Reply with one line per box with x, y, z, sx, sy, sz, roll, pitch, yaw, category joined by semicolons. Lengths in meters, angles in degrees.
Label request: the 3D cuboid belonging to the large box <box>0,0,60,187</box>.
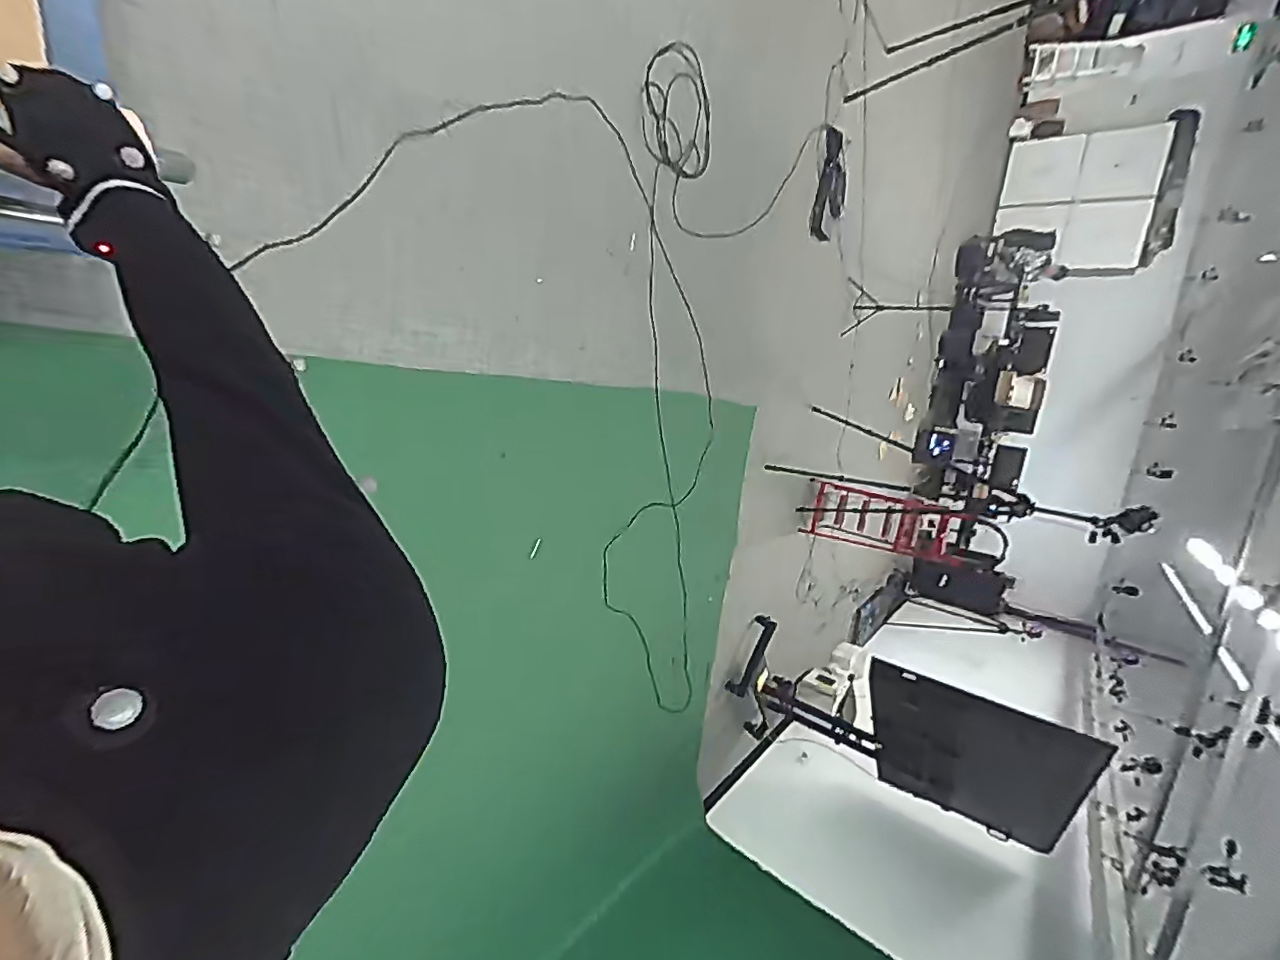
-0.984;-0.631;0.658;0.320;0.320;0.408;-13;110;-51;large box
